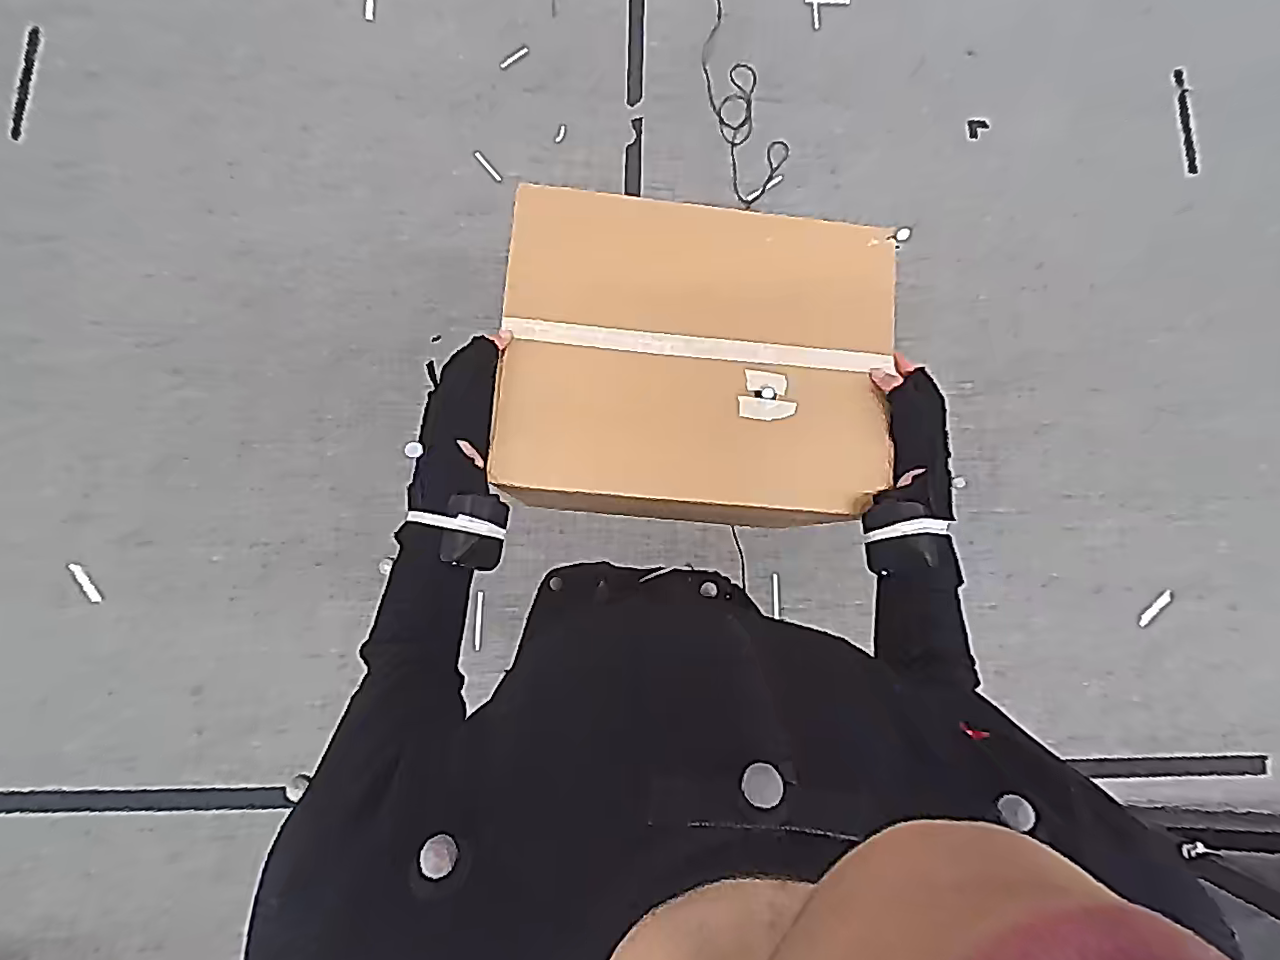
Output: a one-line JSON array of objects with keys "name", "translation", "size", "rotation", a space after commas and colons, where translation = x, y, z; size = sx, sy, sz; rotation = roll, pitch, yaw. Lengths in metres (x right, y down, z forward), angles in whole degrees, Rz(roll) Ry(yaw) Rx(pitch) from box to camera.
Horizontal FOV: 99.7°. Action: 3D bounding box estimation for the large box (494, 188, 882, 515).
[{"name": "large box", "translation": [0.045, -0.126, 0.712], "size": [0.408, 0.320, 0.320], "rotation": [5, 84, -5]}]
